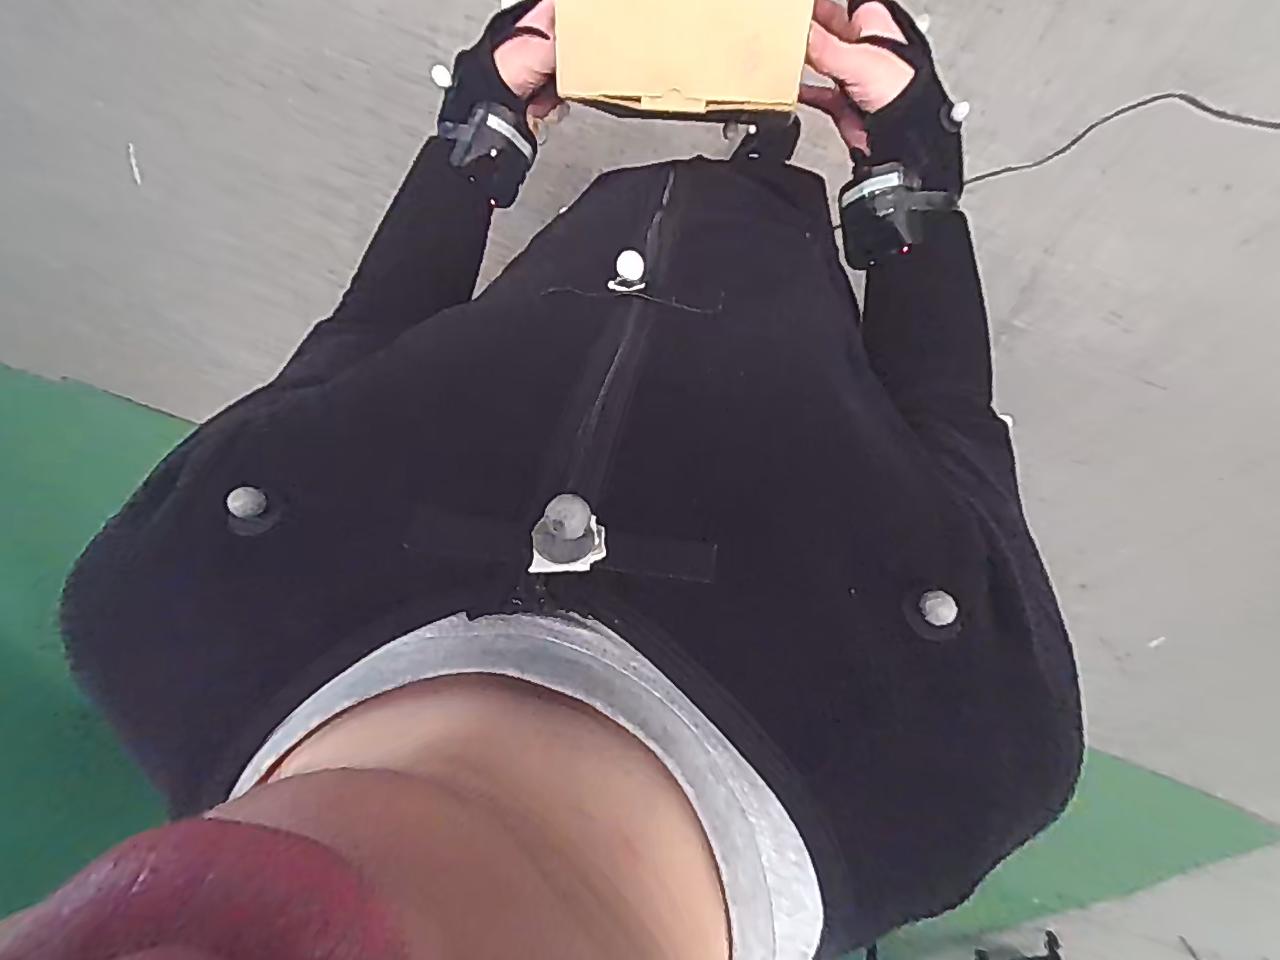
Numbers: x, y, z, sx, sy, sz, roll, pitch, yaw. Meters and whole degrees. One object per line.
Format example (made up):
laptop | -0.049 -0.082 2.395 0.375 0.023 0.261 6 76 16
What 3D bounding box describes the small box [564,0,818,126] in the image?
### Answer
small box | 0.048 -0.369 0.394 0.168 0.176 0.179 8 120 8
